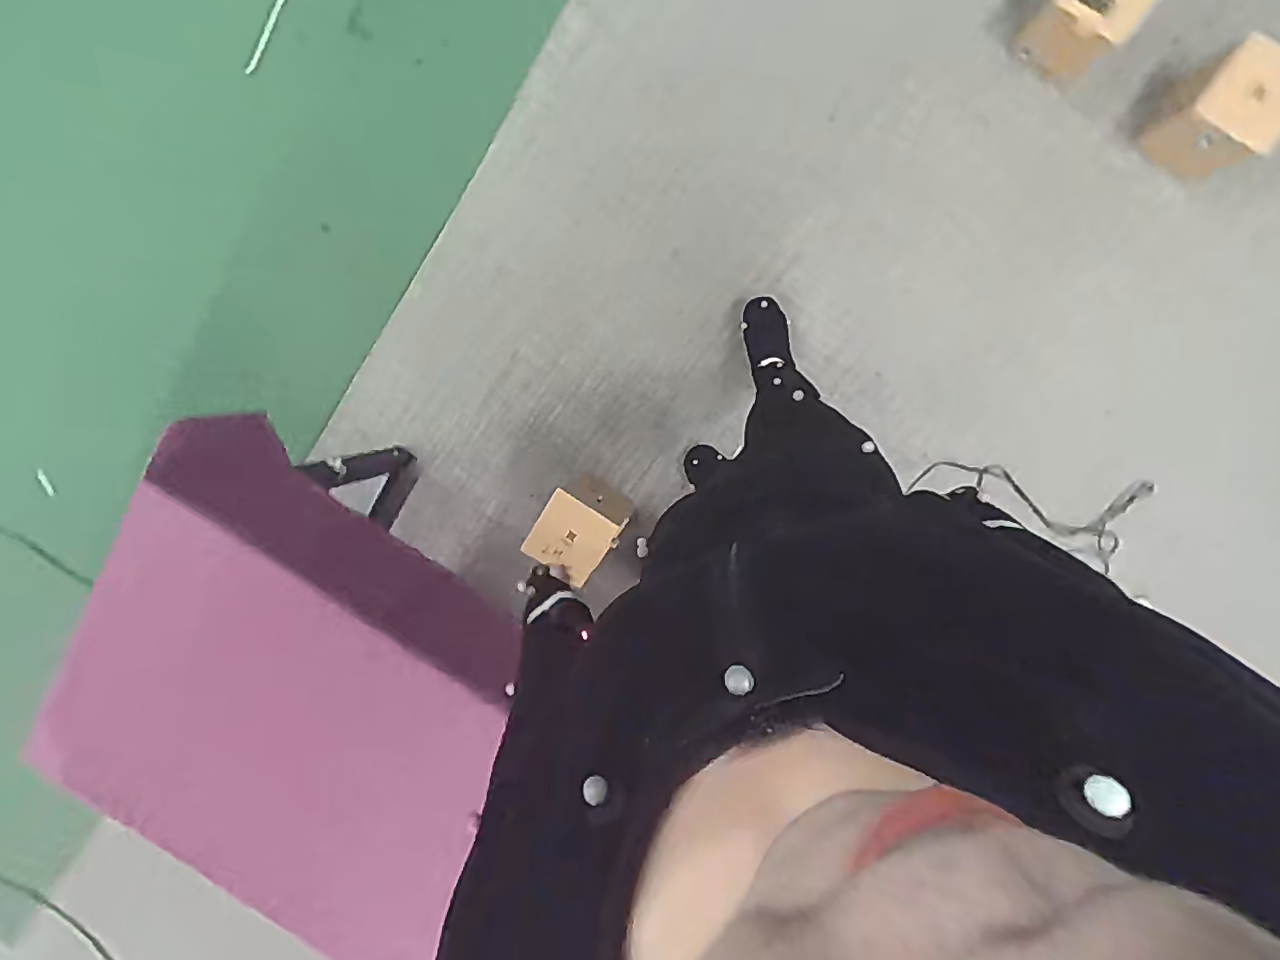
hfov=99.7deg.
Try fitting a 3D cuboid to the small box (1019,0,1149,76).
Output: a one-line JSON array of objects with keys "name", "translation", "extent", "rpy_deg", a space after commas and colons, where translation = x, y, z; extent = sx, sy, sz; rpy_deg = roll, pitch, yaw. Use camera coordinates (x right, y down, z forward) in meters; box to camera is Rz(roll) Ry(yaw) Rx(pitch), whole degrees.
[{"name": "small box", "translation": [0.944, -1.006, 1.130], "extent": [0.168, 0.176, 0.179], "rpy_deg": [35, 101, 0]}]

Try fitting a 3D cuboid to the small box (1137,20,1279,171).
[{"name": "small box", "translation": [1.225, -0.791, 1.135], "extent": [0.179, 0.176, 0.168], "rpy_deg": [33, 103, 0]}]
